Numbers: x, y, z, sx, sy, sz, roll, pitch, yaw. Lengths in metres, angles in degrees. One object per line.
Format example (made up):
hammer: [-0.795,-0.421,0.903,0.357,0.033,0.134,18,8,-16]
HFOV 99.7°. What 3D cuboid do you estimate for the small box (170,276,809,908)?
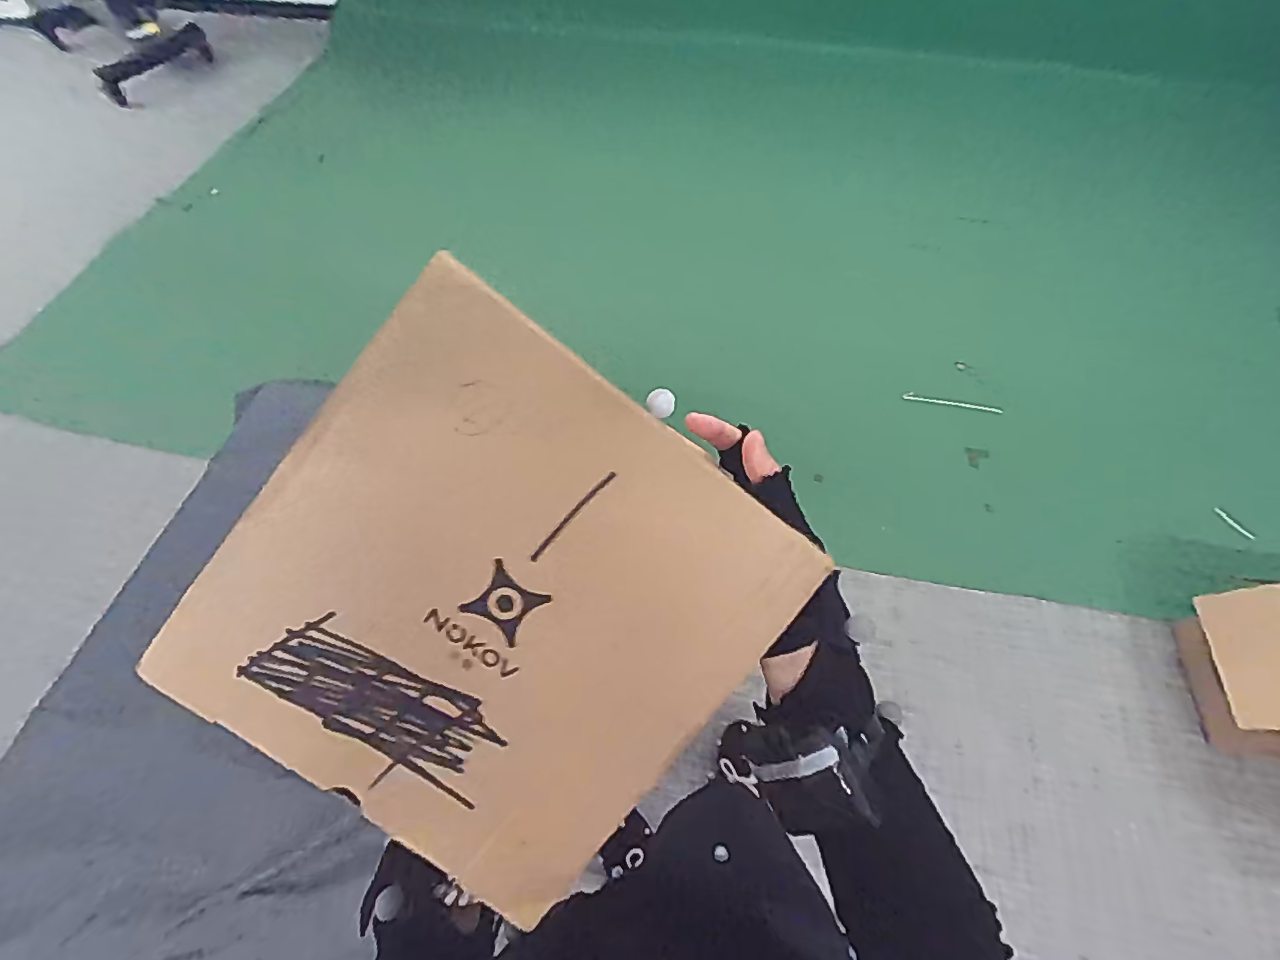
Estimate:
small box: [-0.054,0.038,0.270,0.168,0.176,0.179,38,96,-5]
